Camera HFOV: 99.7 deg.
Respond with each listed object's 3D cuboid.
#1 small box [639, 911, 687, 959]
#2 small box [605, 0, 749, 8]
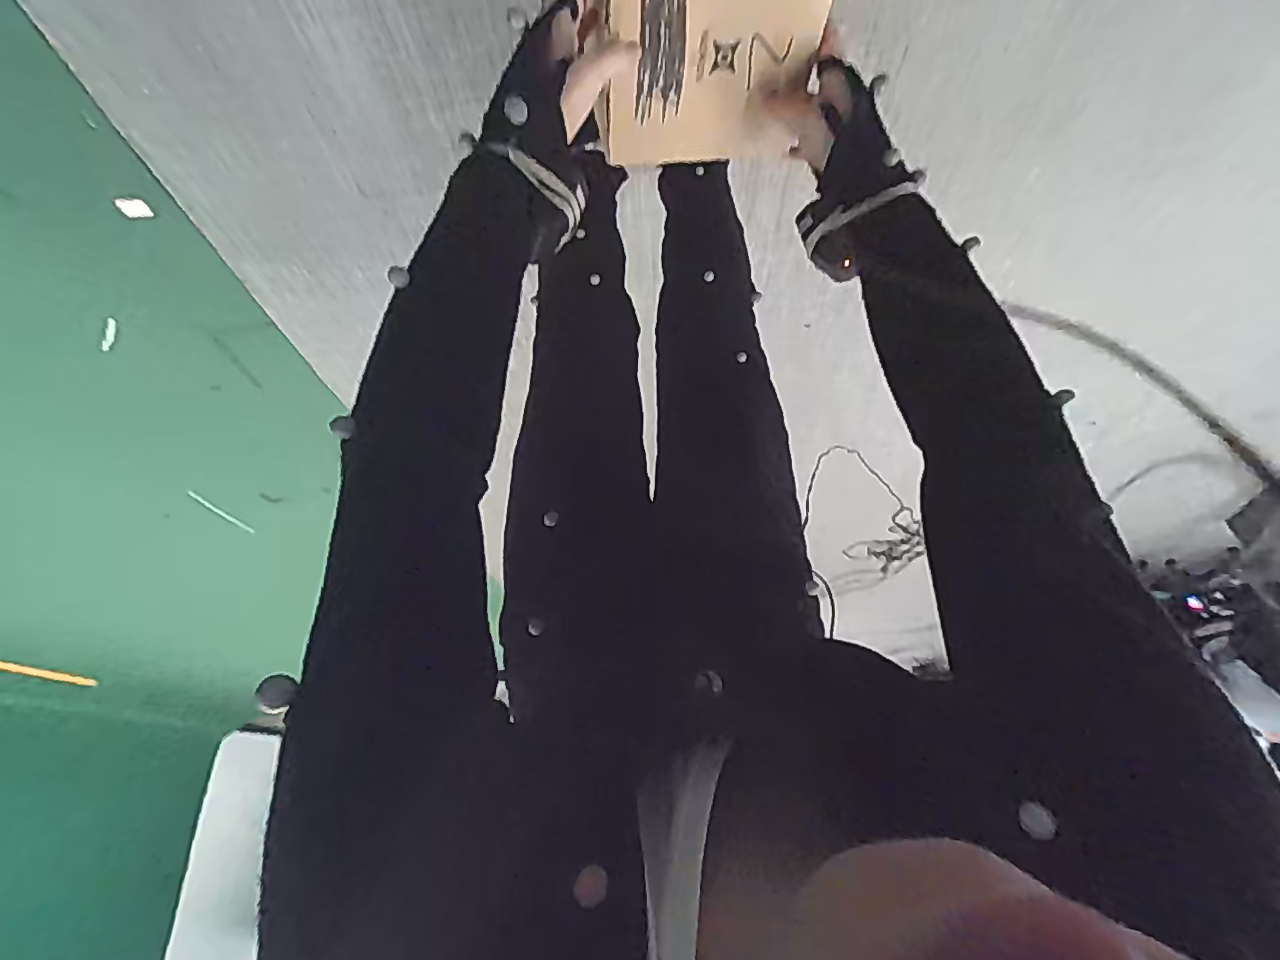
[{"bbox_3d":[0.090,1.901,2.235,0.179,0.176,0.168,-4,147,-6],"label":"small box"},{"bbox_3d":[0.039,-0.672,0.611,0.179,0.176,0.168,-4,149,-5],"label":"small box"}]
